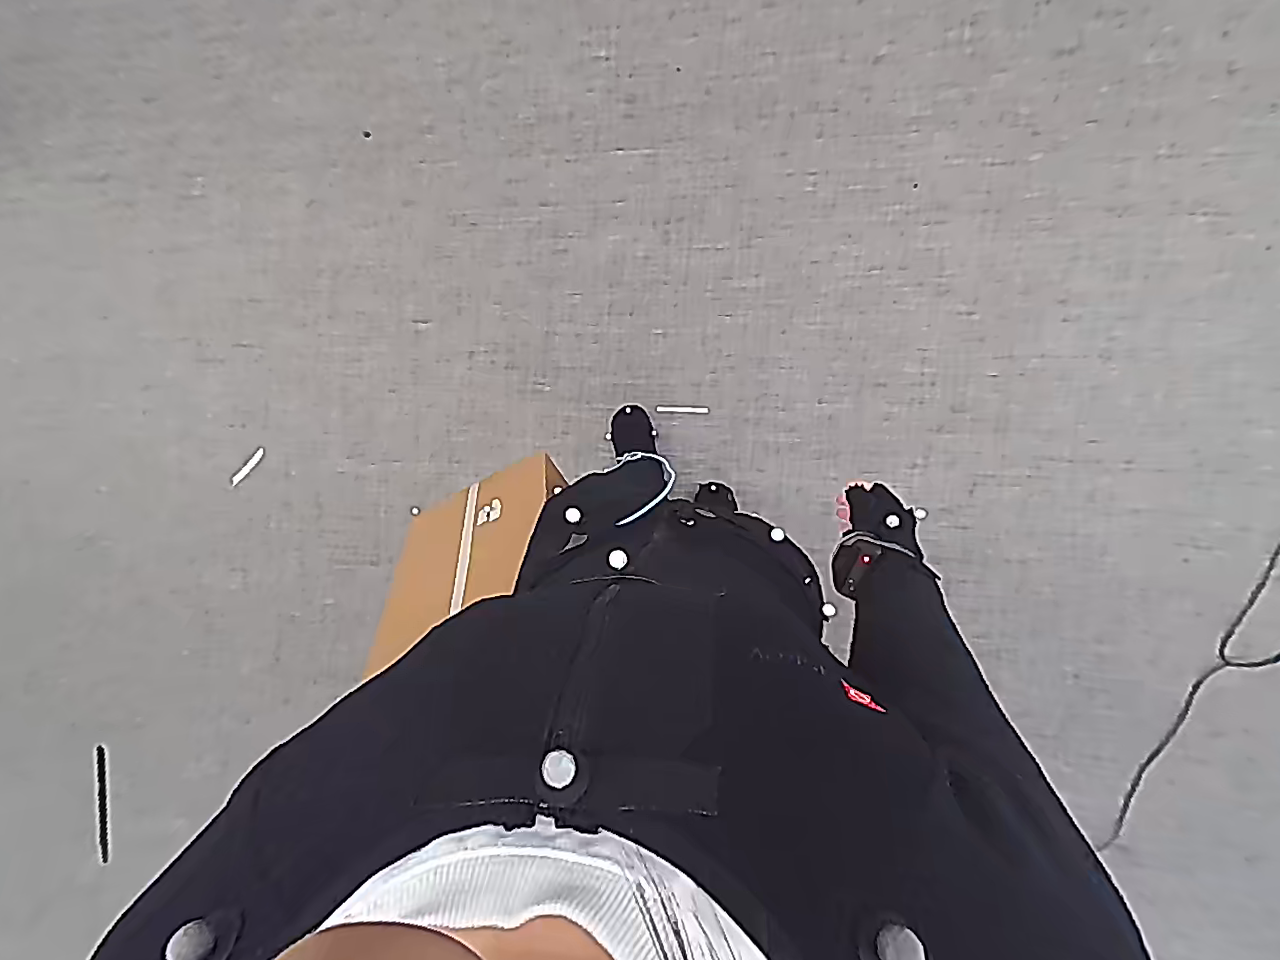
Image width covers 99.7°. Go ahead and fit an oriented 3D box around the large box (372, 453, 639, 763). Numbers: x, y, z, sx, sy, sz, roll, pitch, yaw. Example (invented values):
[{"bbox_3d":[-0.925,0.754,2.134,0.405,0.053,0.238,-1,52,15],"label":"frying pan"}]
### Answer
[{"bbox_3d":[-0.226,0.224,1.013,0.320,0.408,0.320,-26,123,7],"label":"large box"}]
